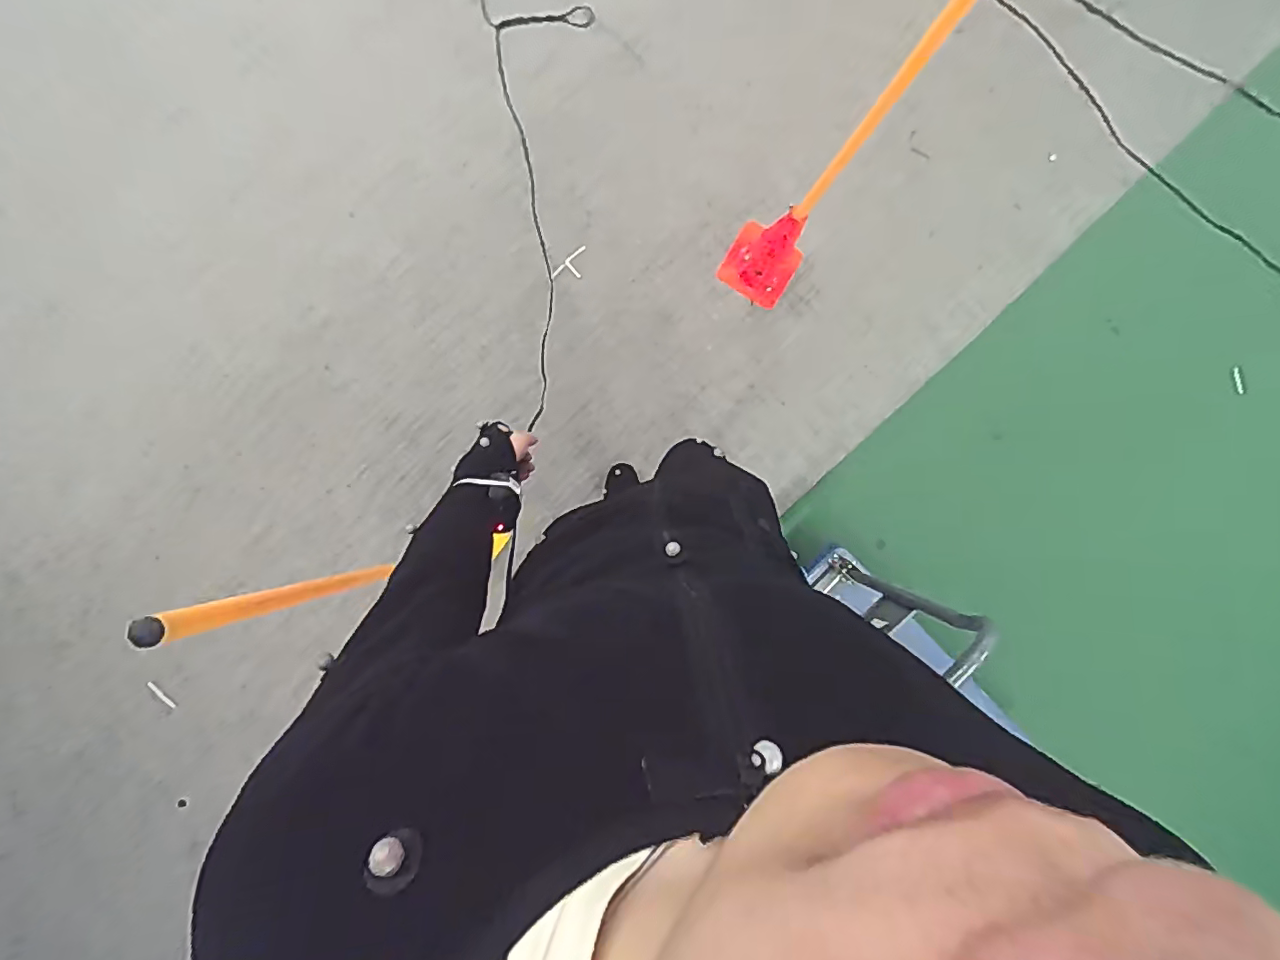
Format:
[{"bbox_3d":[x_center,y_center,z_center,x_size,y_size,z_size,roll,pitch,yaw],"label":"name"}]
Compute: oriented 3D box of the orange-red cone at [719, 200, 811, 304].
[{"bbox_3d":[0.366,-0.637,1.422,0.198,0.360,0.199,32,90,-5],"label":"orange-red cone"}]
